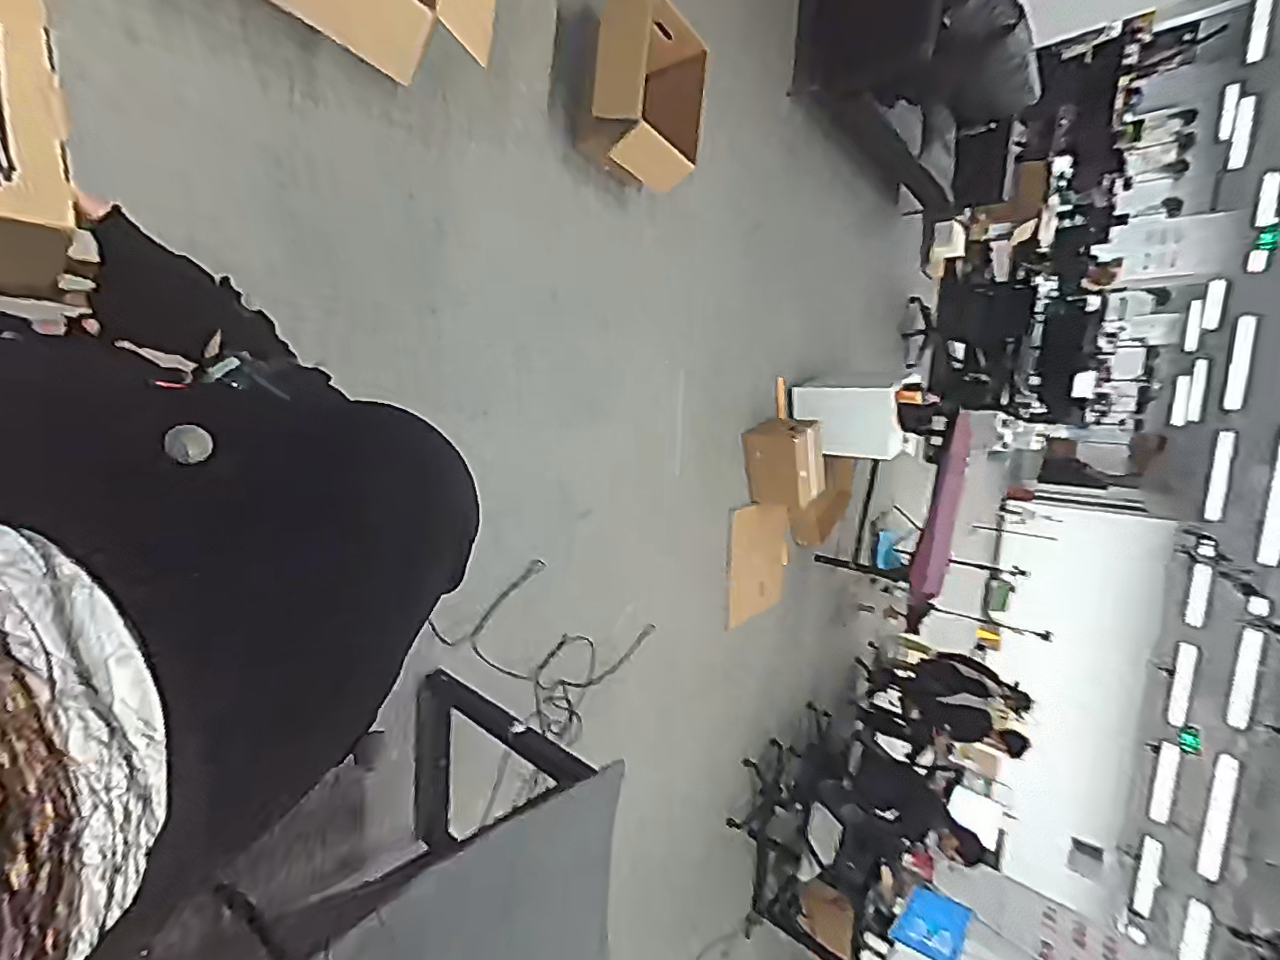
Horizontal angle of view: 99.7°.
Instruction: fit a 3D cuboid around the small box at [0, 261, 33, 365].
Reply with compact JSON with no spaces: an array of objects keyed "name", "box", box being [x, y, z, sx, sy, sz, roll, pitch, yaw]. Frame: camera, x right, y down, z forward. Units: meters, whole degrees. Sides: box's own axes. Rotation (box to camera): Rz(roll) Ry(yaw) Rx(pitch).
[{"name":"small box","box":[-1.130,-0.273,0.853,0.168,0.176,0.179,25,53,-21]}]
